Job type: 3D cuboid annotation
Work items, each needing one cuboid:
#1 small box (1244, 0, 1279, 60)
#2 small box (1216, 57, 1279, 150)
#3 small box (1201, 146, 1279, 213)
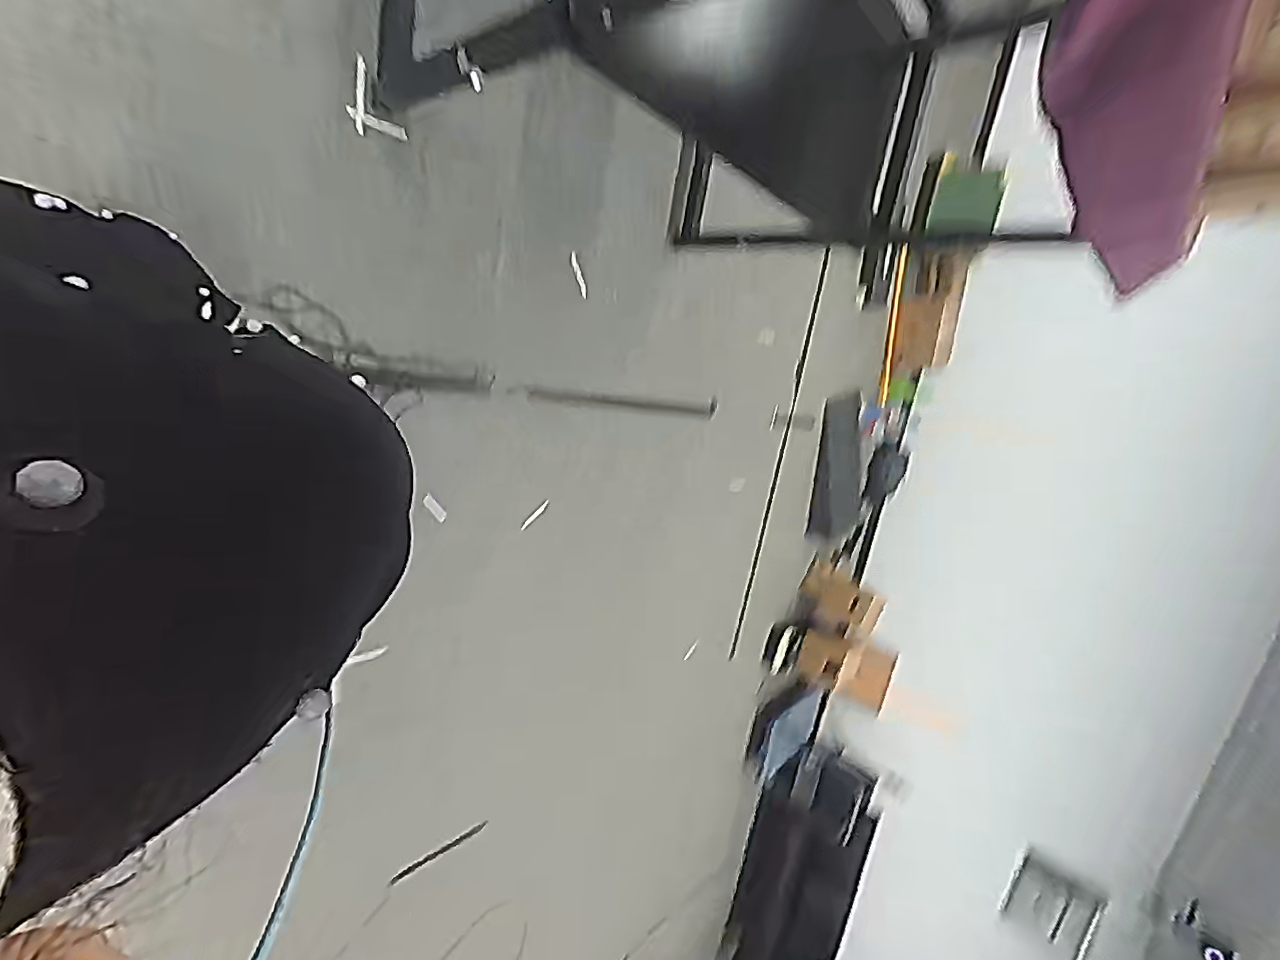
[{"bbox_3d":[0.788,-0.586,0.565,0.168,0.176,0.179,-7,110,-47],"label":"small box"},{"bbox_3d":[0.963,-0.594,0.757,0.168,0.176,0.179,-6,110,-46],"label":"small box"},{"bbox_3d":[1.150,-0.592,0.968,0.179,0.176,0.168,0,105,-47],"label":"small box"}]
